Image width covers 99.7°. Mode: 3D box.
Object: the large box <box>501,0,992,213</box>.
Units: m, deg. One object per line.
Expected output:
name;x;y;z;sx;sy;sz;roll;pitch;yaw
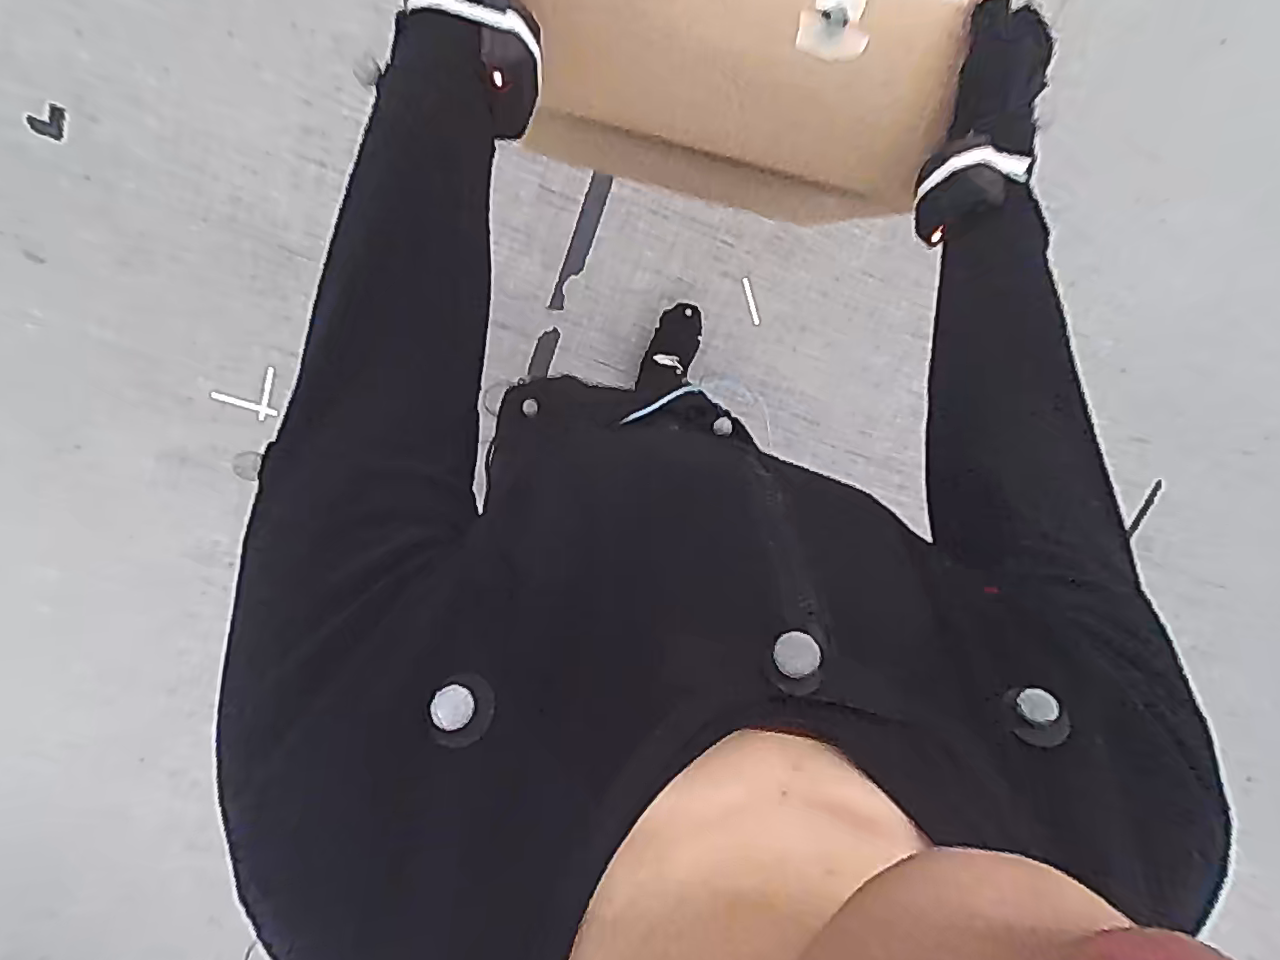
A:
large box;0.089;-0.492;0.560;0.408;0.320;0.320;9;113;-10
